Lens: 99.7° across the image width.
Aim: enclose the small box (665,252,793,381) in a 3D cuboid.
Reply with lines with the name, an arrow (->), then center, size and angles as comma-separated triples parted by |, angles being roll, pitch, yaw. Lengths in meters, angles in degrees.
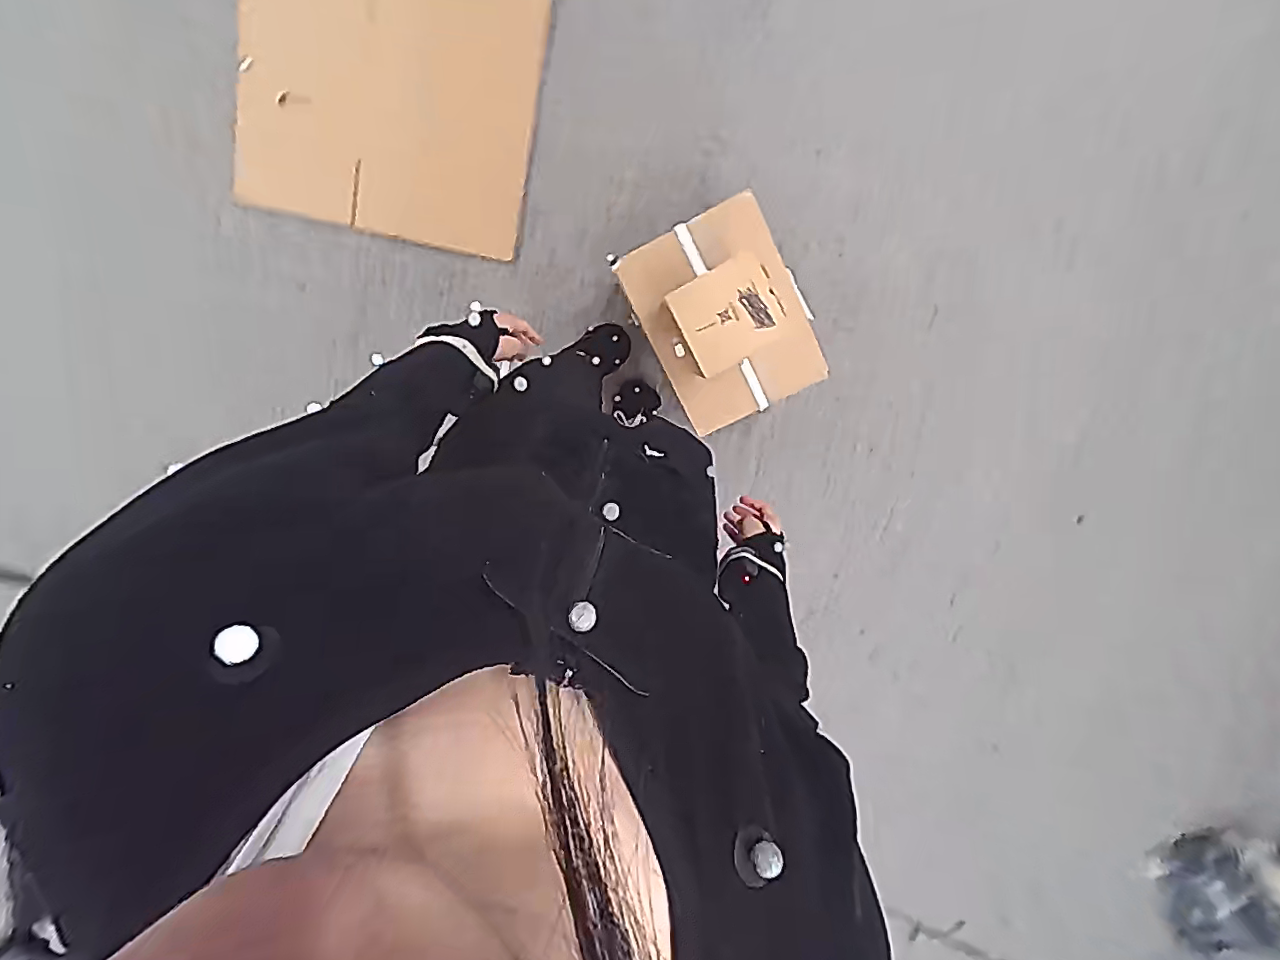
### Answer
small box -> 0.159, -0.303, 1.023 | 0.179, 0.176, 0.168 | -27, 101, 7
